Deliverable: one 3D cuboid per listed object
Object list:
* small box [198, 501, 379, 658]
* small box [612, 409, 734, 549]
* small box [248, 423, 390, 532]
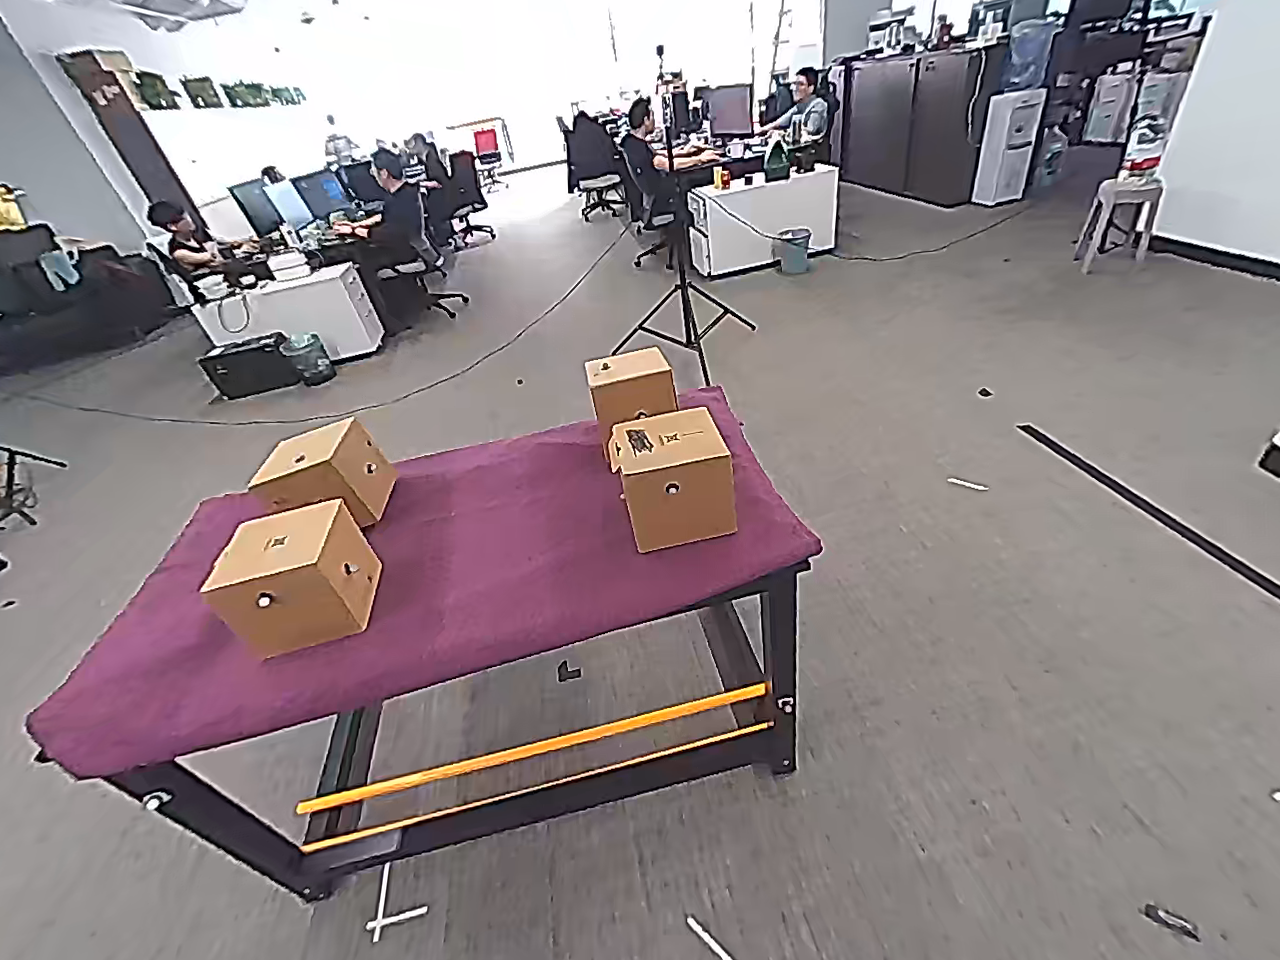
[{"bbox_3d":[-0.565,0.166,0.904,0.179,0.176,0.168,-15,36,-4],"label":"small box"},{"bbox_3d":[0.058,0.000,0.952,0.179,0.176,0.168,-12,35,-1],"label":"small box"},{"bbox_3d":[-0.642,0.006,1.115,0.179,0.168,0.176,-18,35,4],"label":"small box"}]
